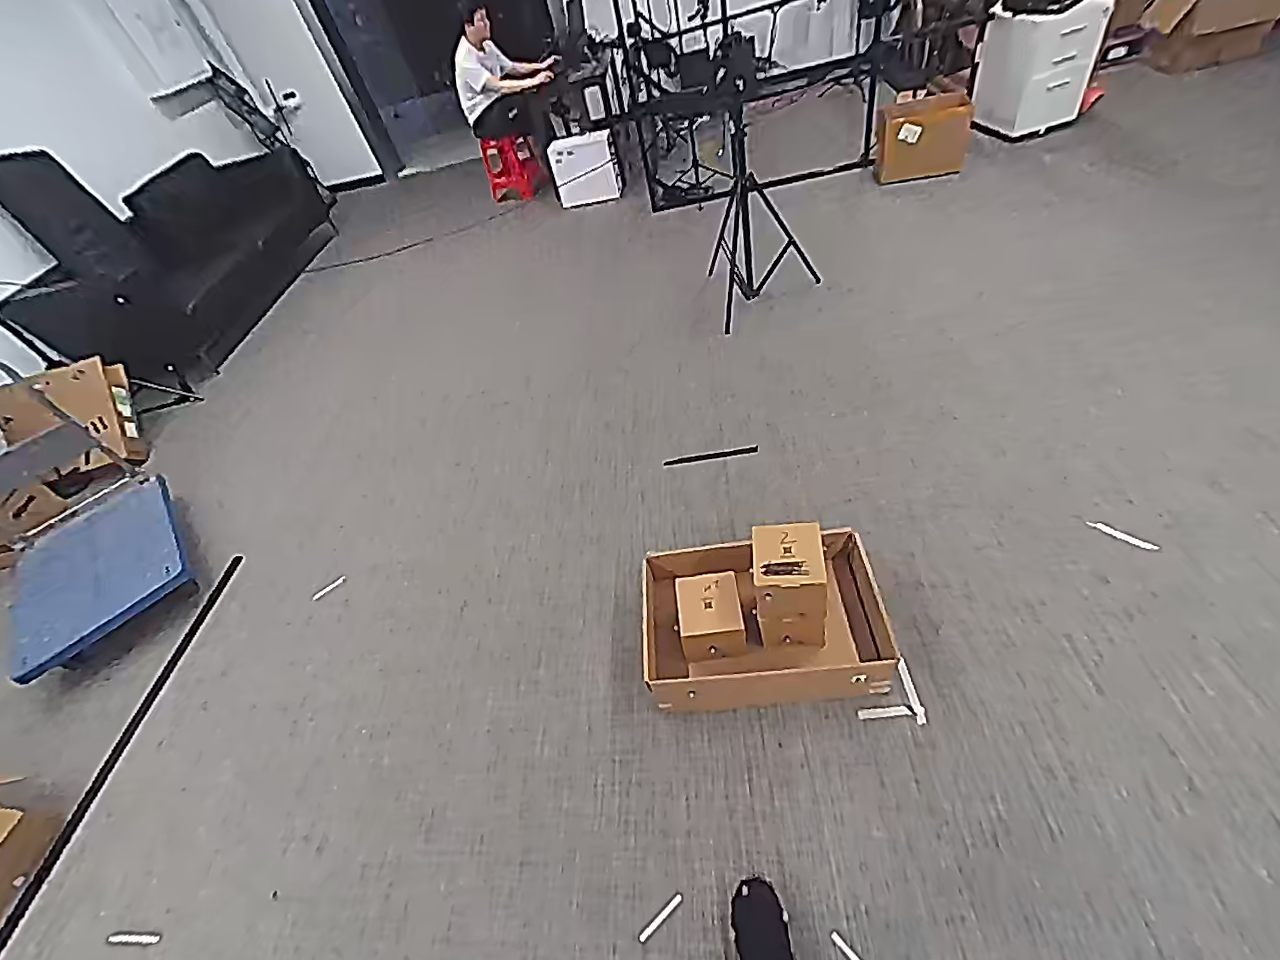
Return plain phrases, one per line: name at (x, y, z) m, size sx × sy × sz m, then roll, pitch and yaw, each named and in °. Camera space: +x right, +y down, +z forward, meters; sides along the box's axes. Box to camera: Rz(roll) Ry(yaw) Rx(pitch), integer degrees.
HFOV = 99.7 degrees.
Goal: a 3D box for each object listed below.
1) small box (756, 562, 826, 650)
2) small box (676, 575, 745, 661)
small box at (0.407, 0.344, 1.471) m, size 0.168 × 0.176 × 0.179 m, roll -6°, pitch 48°, yaw 13°
small box at (0.194, 0.386, 1.487) m, size 0.168 × 0.176 × 0.179 m, roll -8°, pitch 47°, yaw 5°
